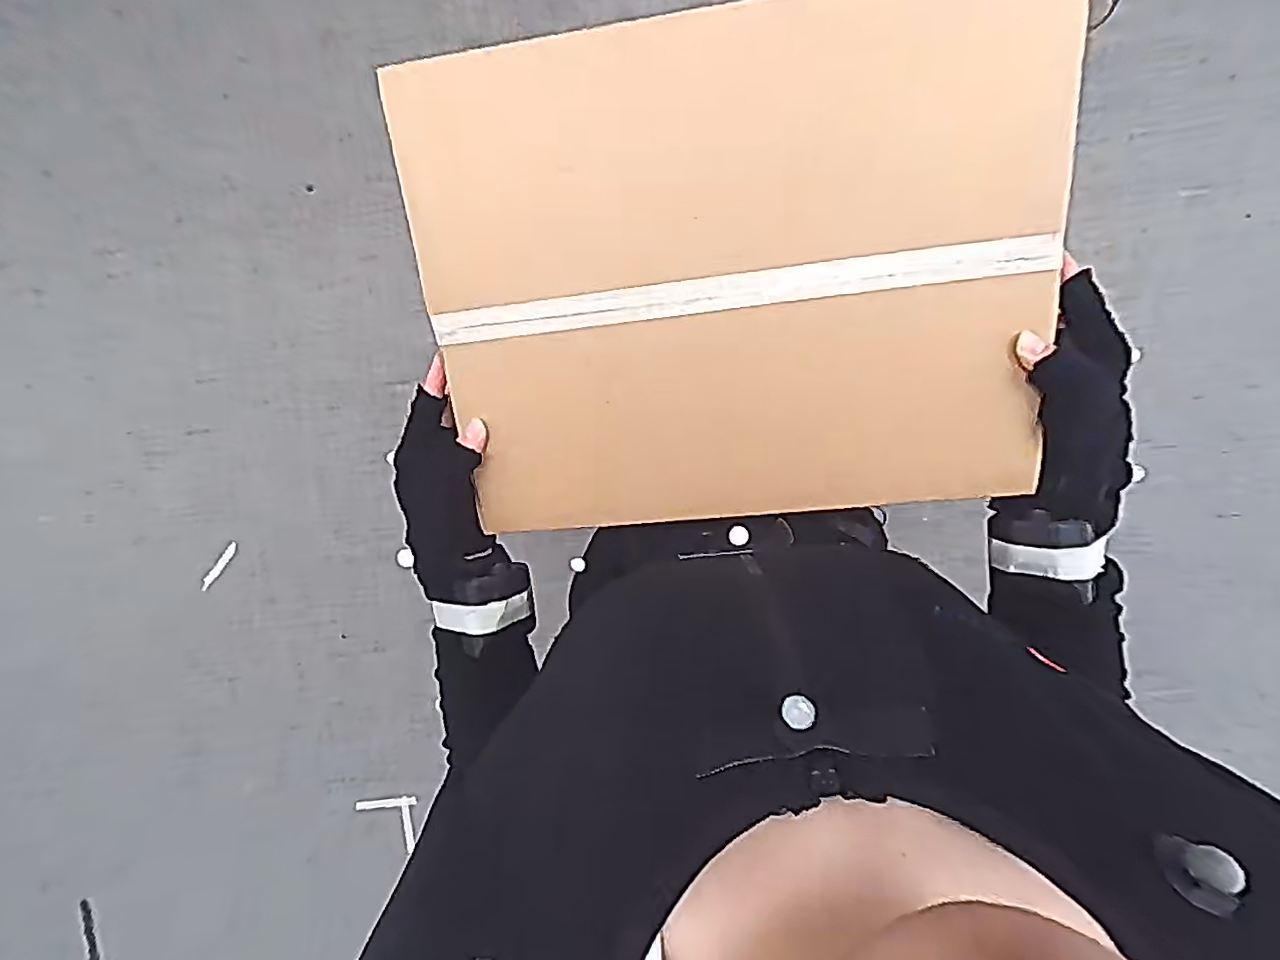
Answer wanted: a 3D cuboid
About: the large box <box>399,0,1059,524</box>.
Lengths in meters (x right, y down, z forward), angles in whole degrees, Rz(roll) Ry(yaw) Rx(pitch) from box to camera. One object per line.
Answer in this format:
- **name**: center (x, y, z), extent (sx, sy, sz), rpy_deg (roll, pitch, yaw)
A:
- **large box**: center (0.068, -0.172, 0.508), extent (0.408, 0.320, 0.320), rpy_deg (-5, 108, 6)
